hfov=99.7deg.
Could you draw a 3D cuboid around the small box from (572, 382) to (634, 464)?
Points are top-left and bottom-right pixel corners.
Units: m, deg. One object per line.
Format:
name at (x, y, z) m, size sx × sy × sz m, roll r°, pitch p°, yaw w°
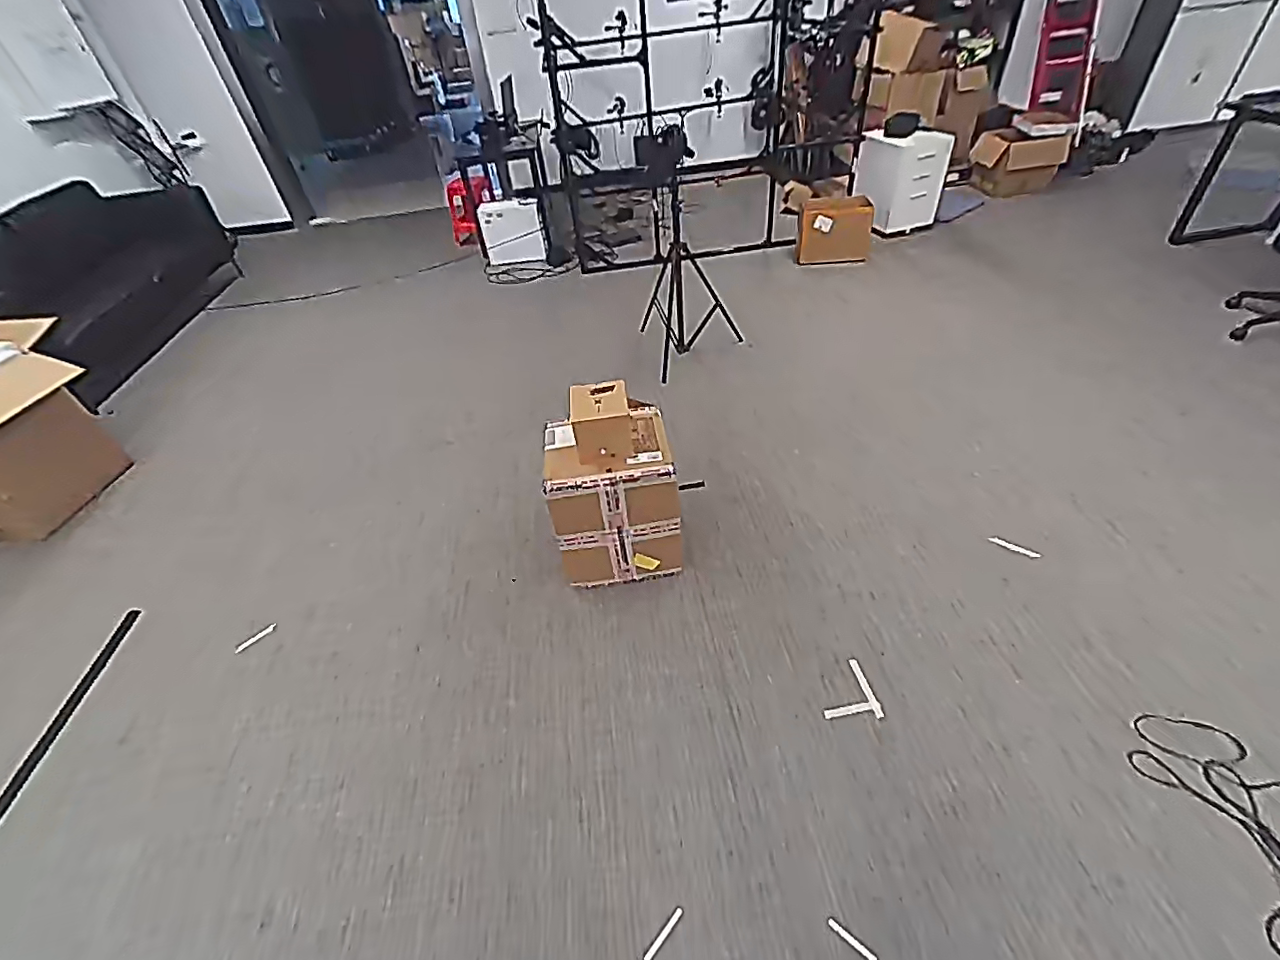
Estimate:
small box at (-0.111, -0.170, 1.630) m, size 0.168 × 0.176 × 0.179 m, roll -7°, pitch 45°, yaw 0°
